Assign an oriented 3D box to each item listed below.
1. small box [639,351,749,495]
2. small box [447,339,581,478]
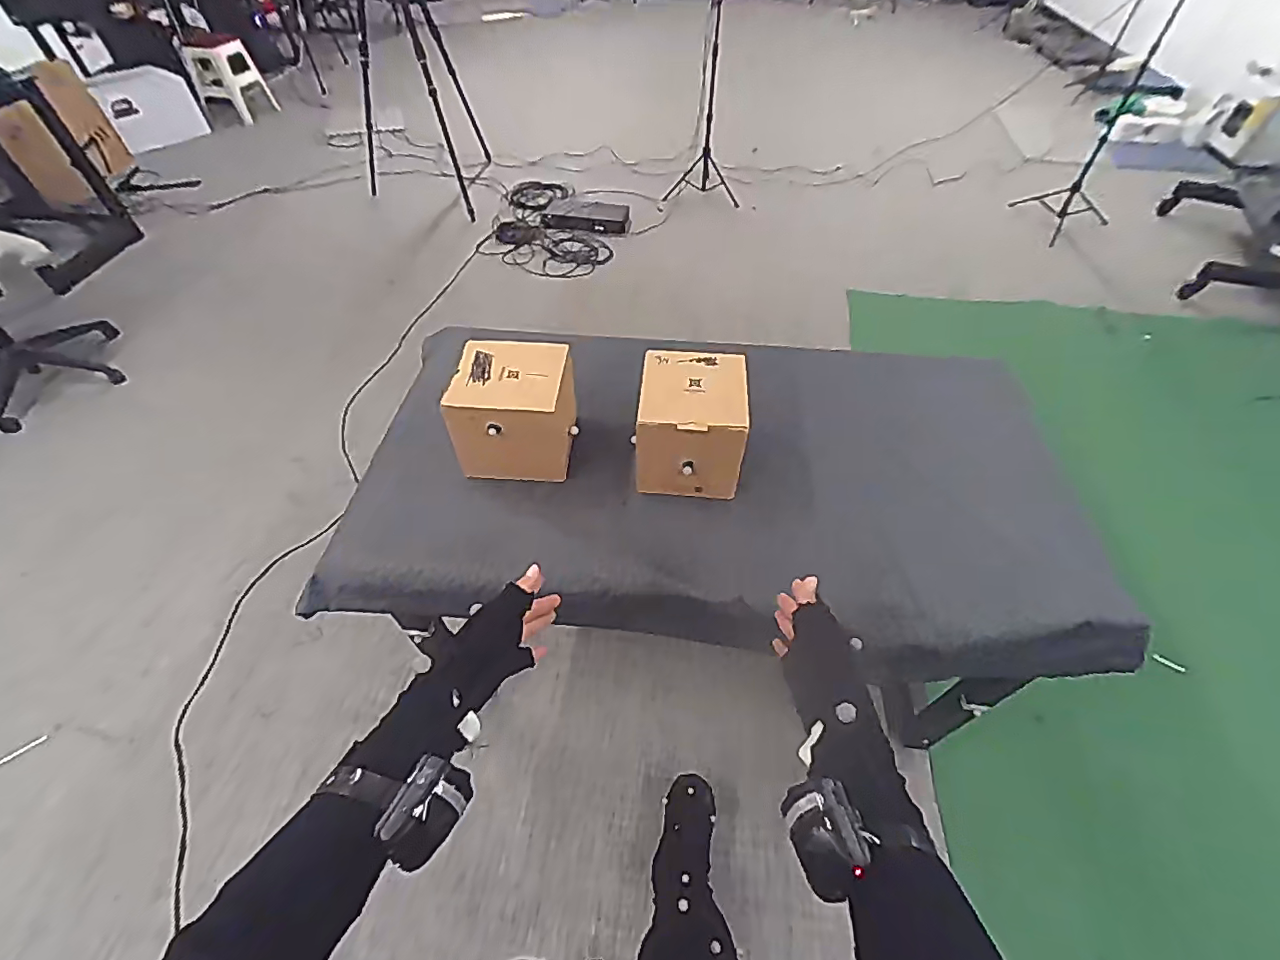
[{"bbox_3d":[0.089,-0.092,0.905,0.168,0.176,0.179,5,51,4],"label":"small box"},{"bbox_3d":[-0.202,-0.119,0.924,0.179,0.176,0.168,4,51,2],"label":"small box"}]
